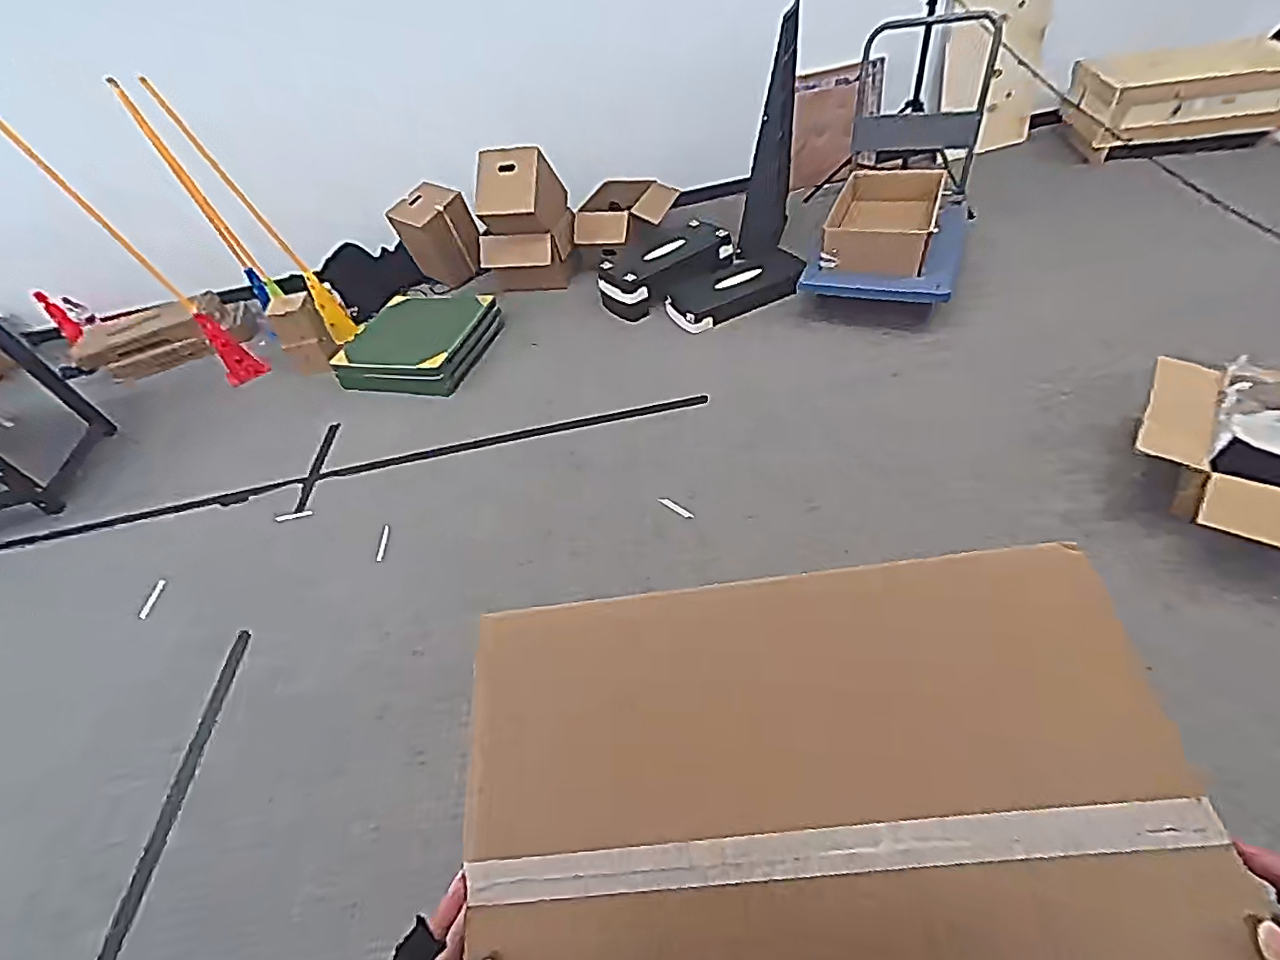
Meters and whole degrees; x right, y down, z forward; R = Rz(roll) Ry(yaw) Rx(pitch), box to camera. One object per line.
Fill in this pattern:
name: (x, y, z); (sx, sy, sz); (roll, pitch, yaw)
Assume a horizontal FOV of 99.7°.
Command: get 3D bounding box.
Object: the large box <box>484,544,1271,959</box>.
large box: (0.124, 0.274, 0.438); (0.408, 0.320, 0.320); (-8, 63, 6)
